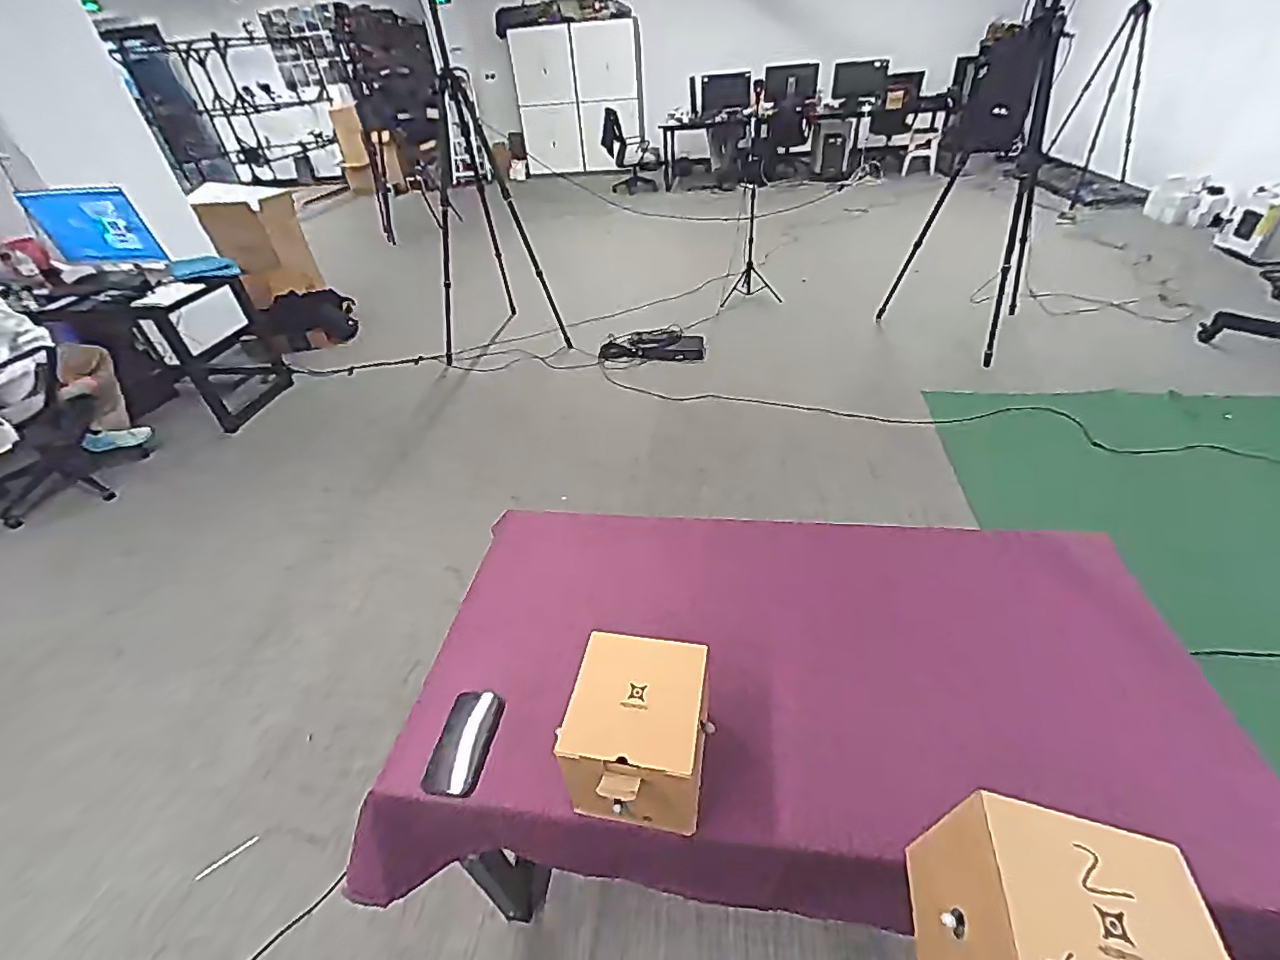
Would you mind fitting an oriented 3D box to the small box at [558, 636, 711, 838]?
[{"bbox_3d":[0.003,0.342,0.729,0.168,0.176,0.179,5,39,11],"label":"small box"}]
